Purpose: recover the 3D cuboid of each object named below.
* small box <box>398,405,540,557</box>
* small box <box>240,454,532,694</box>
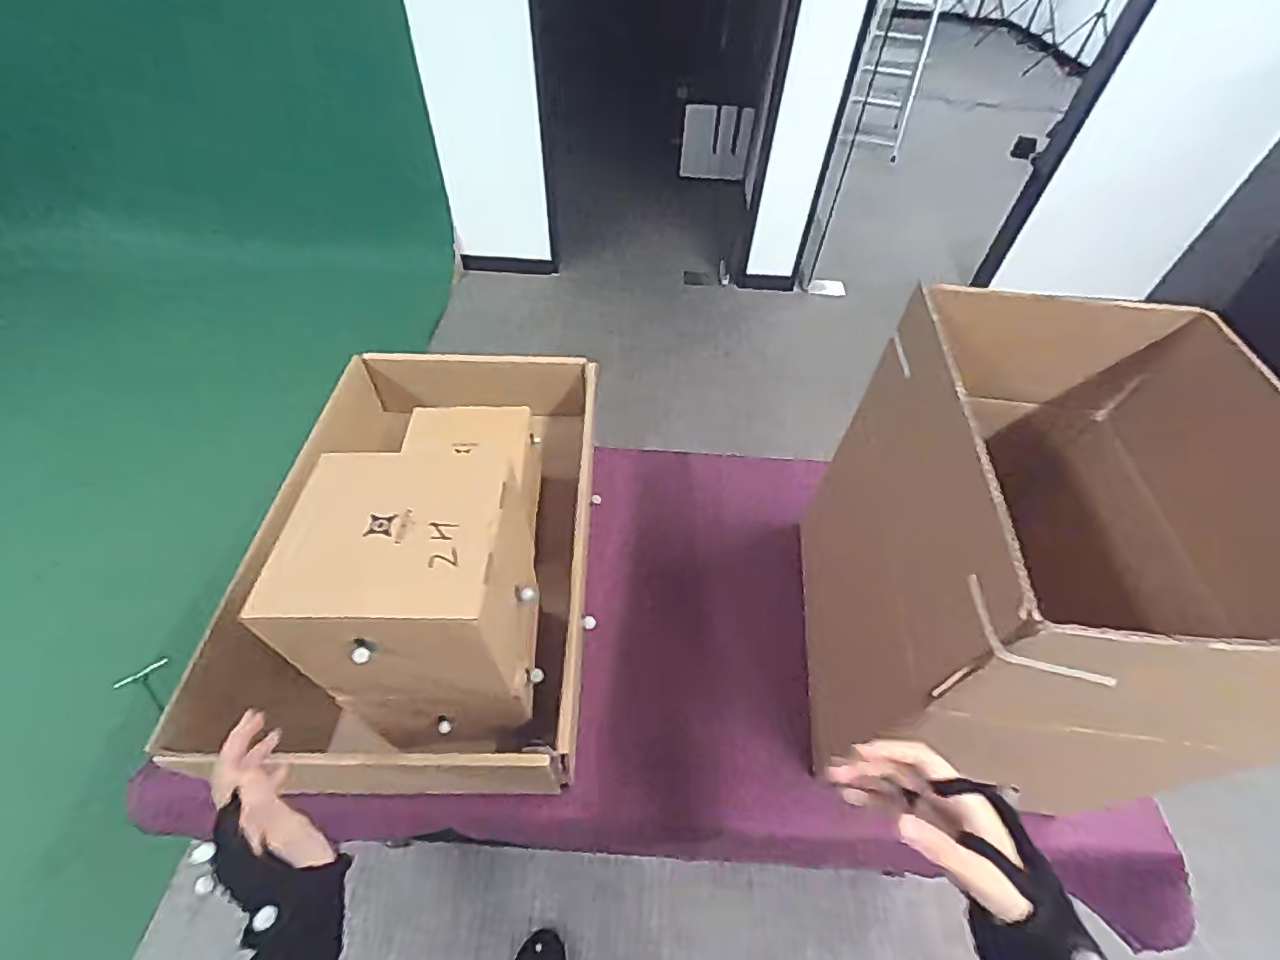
[{"bbox_3d":[-0.242,0.012,0.788,0.168,0.176,0.179,-2,51,-2],"label":"small box"},{"bbox_3d":[-0.209,0.093,0.509,0.179,0.176,0.168,1,51,-1],"label":"small box"}]
